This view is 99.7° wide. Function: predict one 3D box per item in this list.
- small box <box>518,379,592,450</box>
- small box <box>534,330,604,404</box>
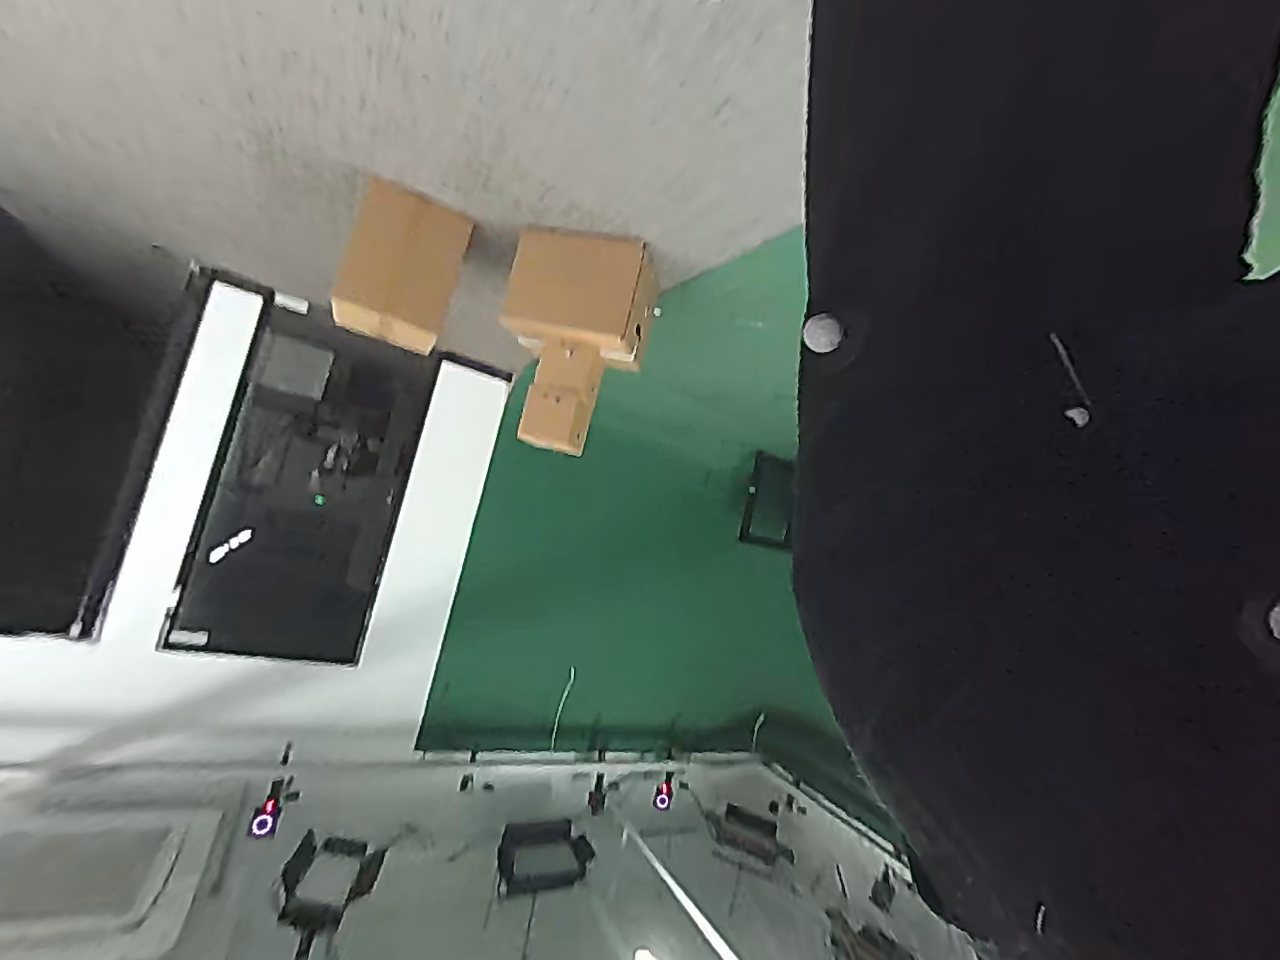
[{"bbox_3d":[-0.264,-0.207,1.723,0.168,0.176,0.179,12,175,10],"label":"small box"},{"bbox_3d":[-0.222,-0.363,1.742,0.168,0.176,0.179,12,174,8],"label":"small box"}]
